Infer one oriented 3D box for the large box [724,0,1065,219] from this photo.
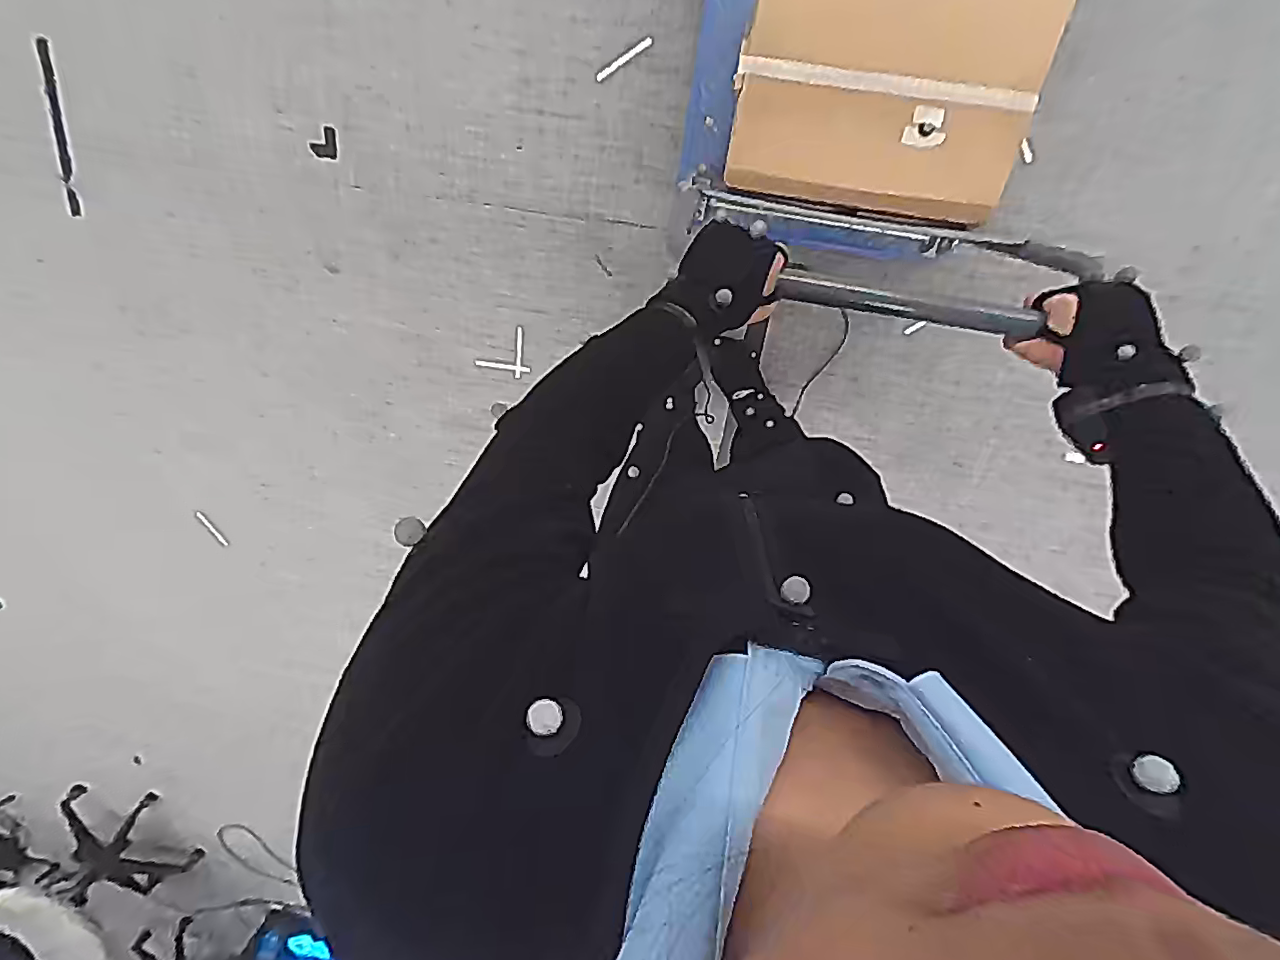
[{"bbox_3d":[0.366,-0.629,0.901,0.408,0.320,0.320,9,118,3],"label":"large box"}]
